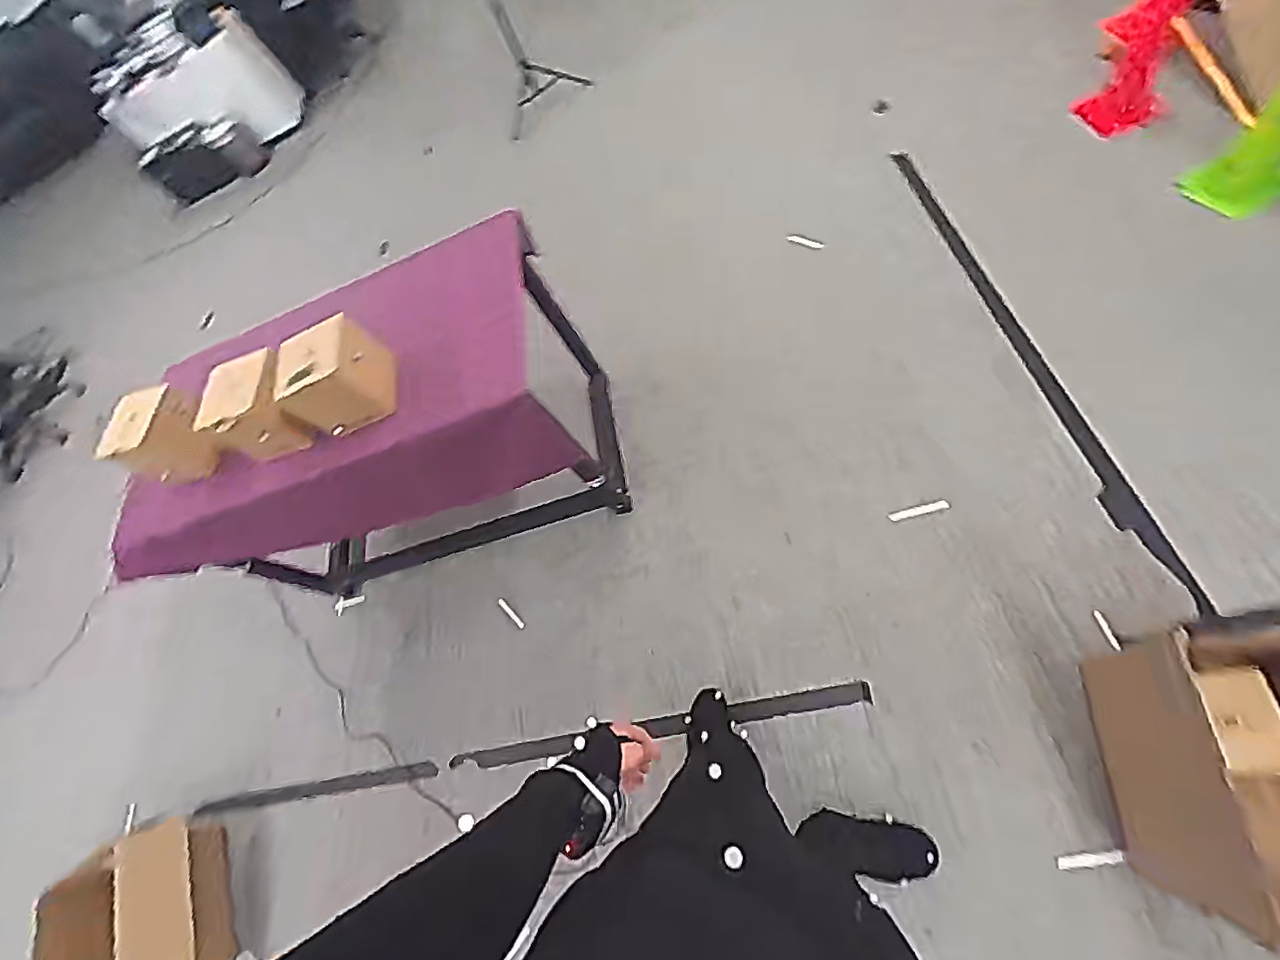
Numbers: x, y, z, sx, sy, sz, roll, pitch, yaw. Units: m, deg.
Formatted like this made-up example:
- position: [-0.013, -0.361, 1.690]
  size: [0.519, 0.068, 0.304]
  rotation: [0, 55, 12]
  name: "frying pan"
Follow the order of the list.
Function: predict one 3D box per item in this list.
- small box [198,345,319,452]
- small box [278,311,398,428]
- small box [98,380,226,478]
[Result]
- position: [-0.879, -0.180, 1.275]
  size: [0.168, 0.176, 0.179]
  rotation: [-13, 62, 14]
  name: "small box"
- position: [-0.672, -0.238, 1.221]
  size: [0.168, 0.176, 0.179]
  rotation: [-20, 60, 11]
  name: "small box"
- position: [-1.180, -0.124, 1.360]
  size: [0.168, 0.176, 0.179]
  rotation: [-7, 64, 18]
  name: "small box"
